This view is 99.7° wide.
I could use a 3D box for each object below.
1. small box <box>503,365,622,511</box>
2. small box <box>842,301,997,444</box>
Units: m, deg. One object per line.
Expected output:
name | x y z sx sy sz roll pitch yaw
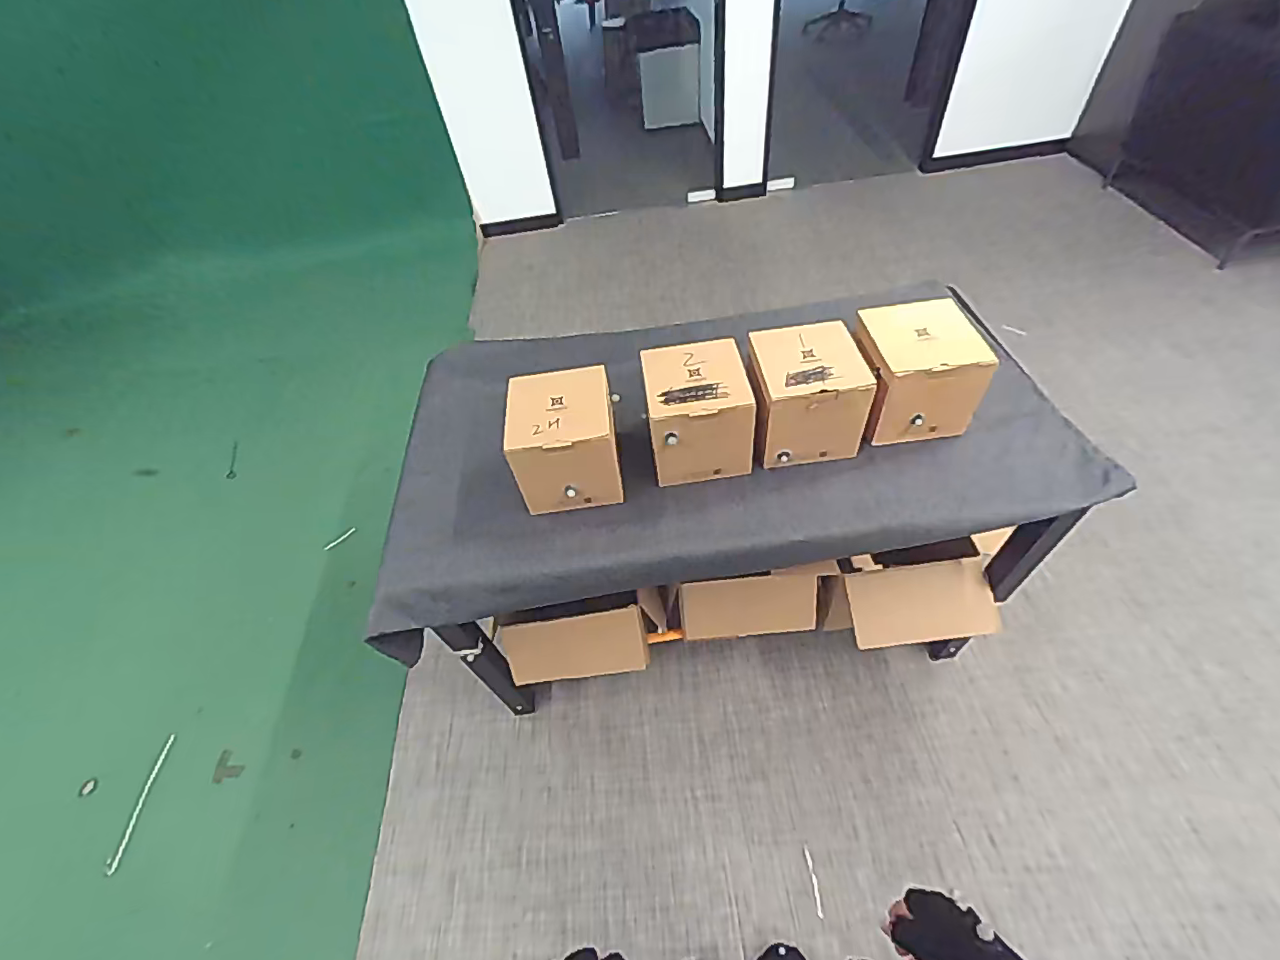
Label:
small box | -0.126 -0.070 0.928 0.168 0.176 0.179 -8 50 1
small box | 0.473 -0.187 0.952 0.168 0.176 0.179 -7 51 2
